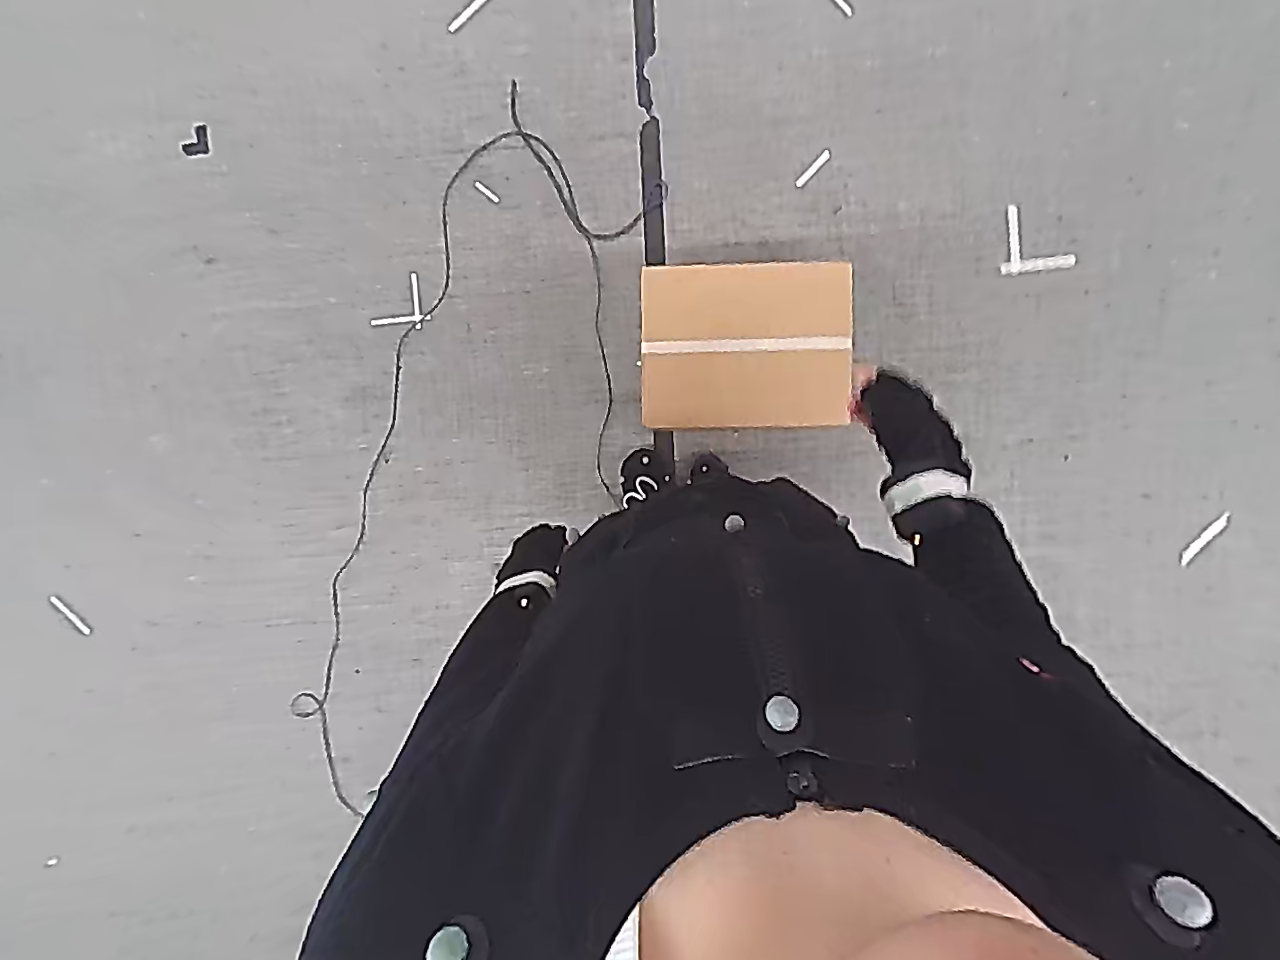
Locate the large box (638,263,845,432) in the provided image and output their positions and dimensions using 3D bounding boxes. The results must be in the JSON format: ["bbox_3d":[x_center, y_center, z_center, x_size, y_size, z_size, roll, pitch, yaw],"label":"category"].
[{"bbox_3d":[0.202,-0.270,1.203,0.408,0.320,0.320,0,95,2],"label":"large box"}]
